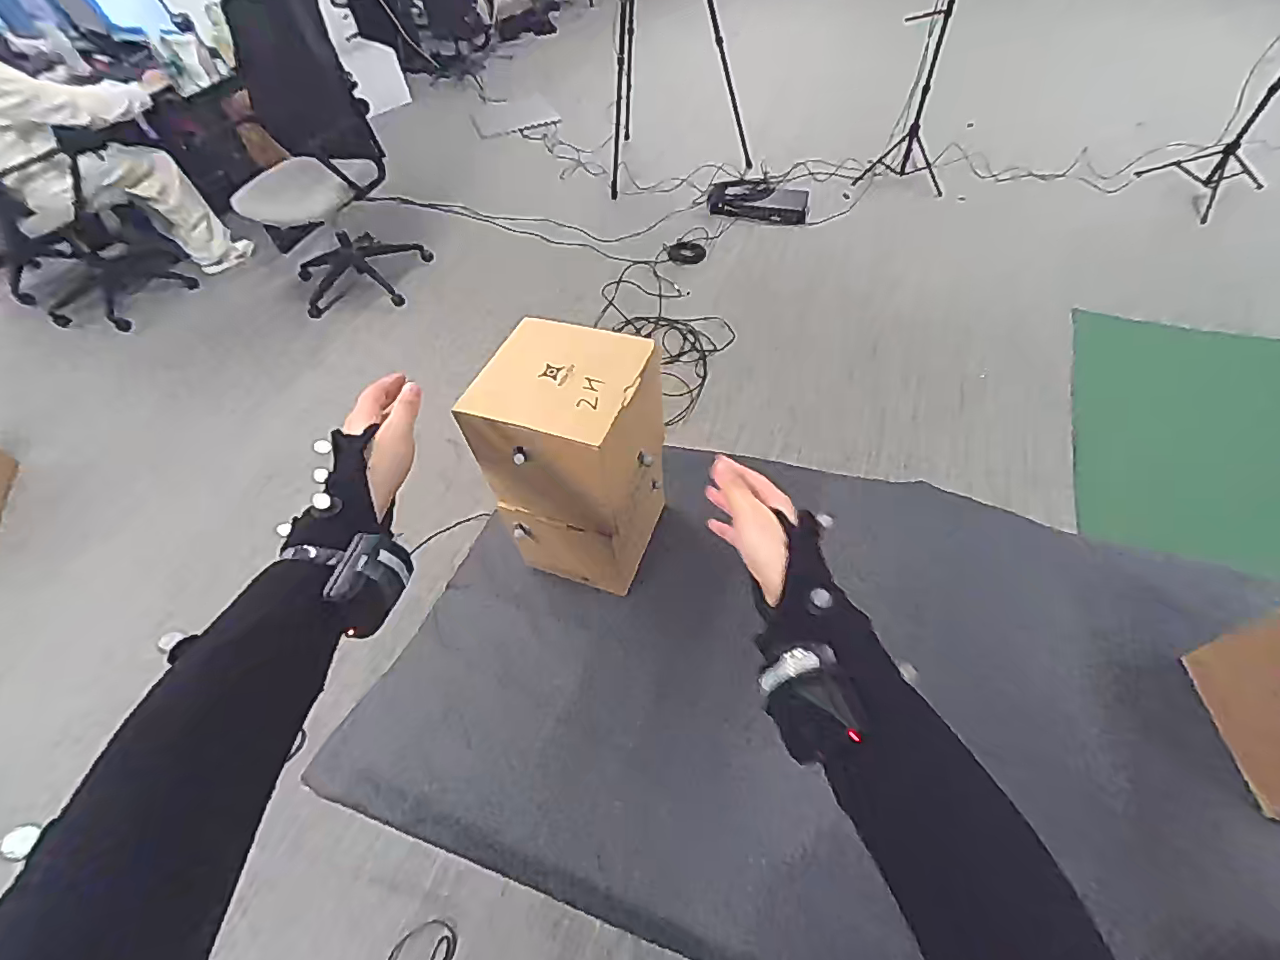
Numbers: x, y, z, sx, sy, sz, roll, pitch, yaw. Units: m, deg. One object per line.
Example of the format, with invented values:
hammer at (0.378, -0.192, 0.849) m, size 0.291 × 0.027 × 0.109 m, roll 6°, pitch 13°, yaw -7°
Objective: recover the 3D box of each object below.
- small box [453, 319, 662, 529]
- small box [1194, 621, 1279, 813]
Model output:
small box at (-0.083, -0.063, 0.648) m, size 0.179 × 0.176 × 0.168 m, roll 16°, pitch 58°, yaw 16°
small box at (0.732, 0.237, 0.539) m, size 0.168 × 0.176 × 0.179 m, roll -2°, pitch 55°, yaw 8°
